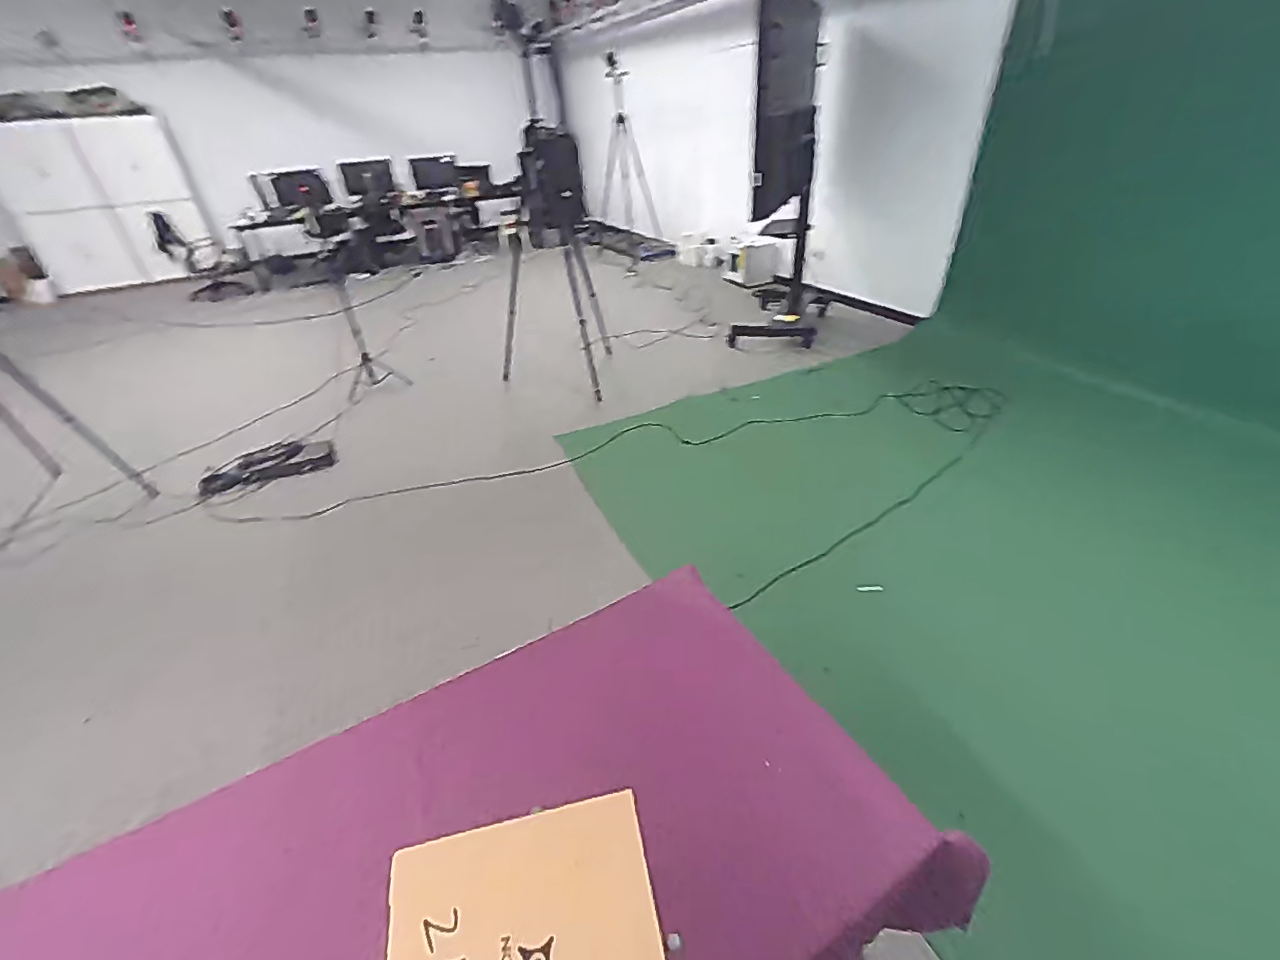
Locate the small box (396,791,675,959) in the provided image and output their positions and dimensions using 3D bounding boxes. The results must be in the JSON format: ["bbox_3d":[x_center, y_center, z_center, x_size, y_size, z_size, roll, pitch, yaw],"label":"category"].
[{"bbox_3d":[-0.065,0.358,0.400,0.179,0.176,0.168,-10,47,-7],"label":"small box"}]
